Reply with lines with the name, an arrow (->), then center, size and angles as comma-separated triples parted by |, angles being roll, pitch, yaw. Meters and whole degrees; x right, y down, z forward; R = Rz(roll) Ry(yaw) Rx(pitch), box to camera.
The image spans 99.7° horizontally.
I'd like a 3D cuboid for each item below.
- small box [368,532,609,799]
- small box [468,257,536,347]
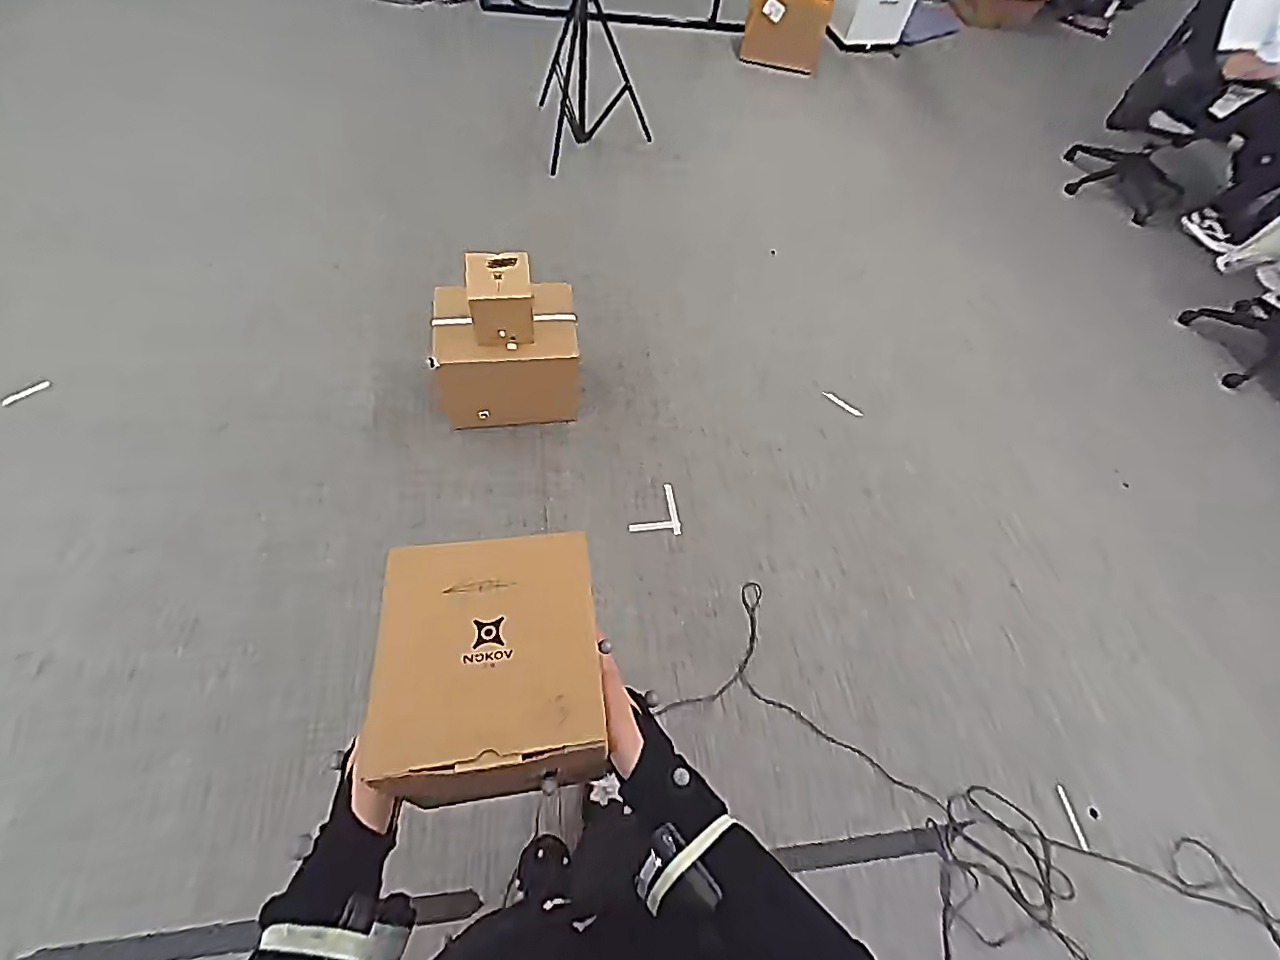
small box -> -0.119, 0.169, 0.478 | 0.168, 0.176, 0.179 | -5, 53, -10
small box -> -0.381, -0.491, 1.498 | 0.168, 0.176, 0.179 | -6, 62, -10
